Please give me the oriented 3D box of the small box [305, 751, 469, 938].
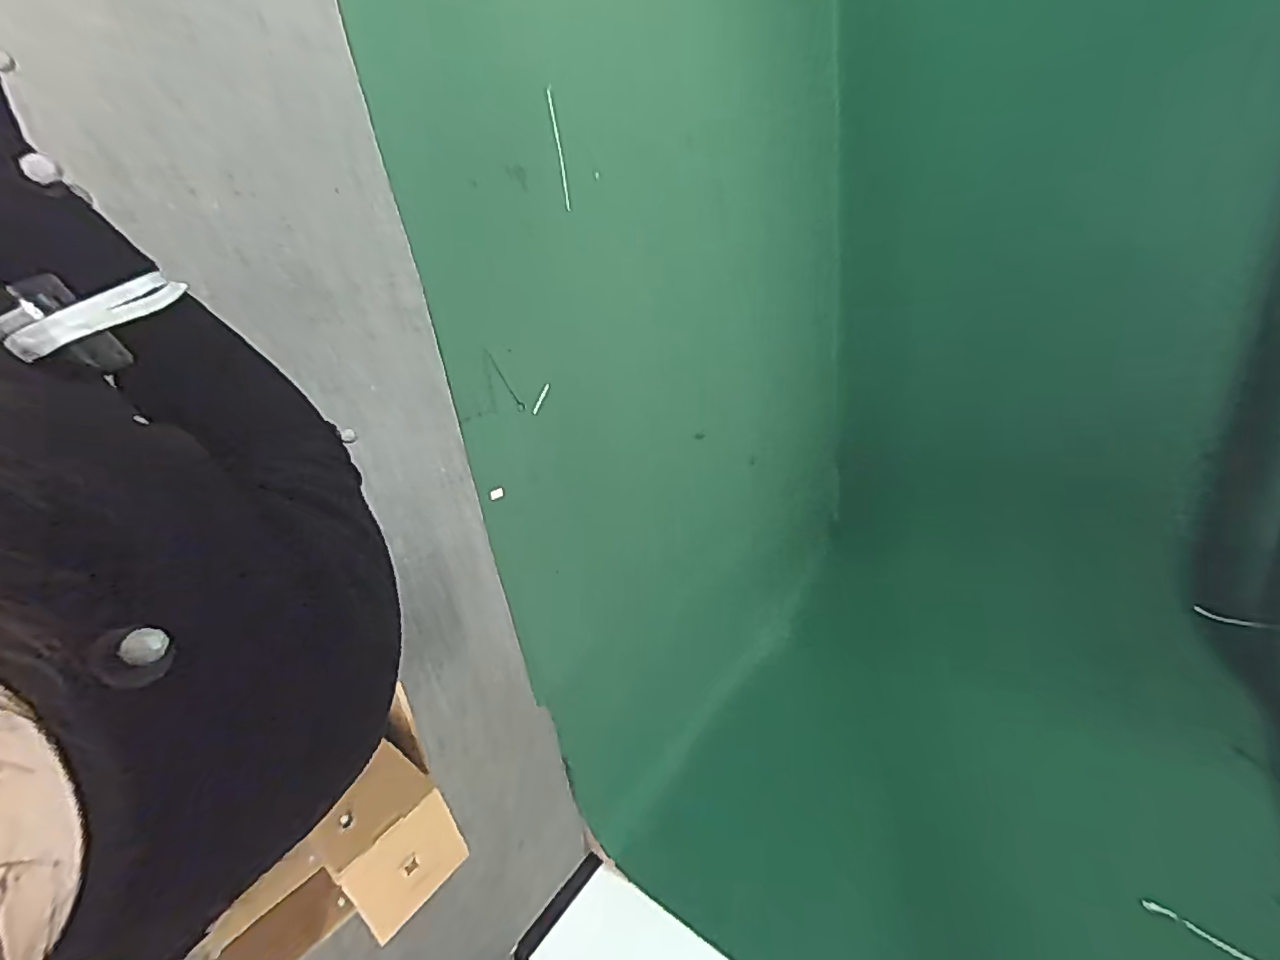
[{"bbox_3d":[-0.423,0.591,0.906,0.168,0.176,0.179,-33,123,-41],"label":"small box"}]
